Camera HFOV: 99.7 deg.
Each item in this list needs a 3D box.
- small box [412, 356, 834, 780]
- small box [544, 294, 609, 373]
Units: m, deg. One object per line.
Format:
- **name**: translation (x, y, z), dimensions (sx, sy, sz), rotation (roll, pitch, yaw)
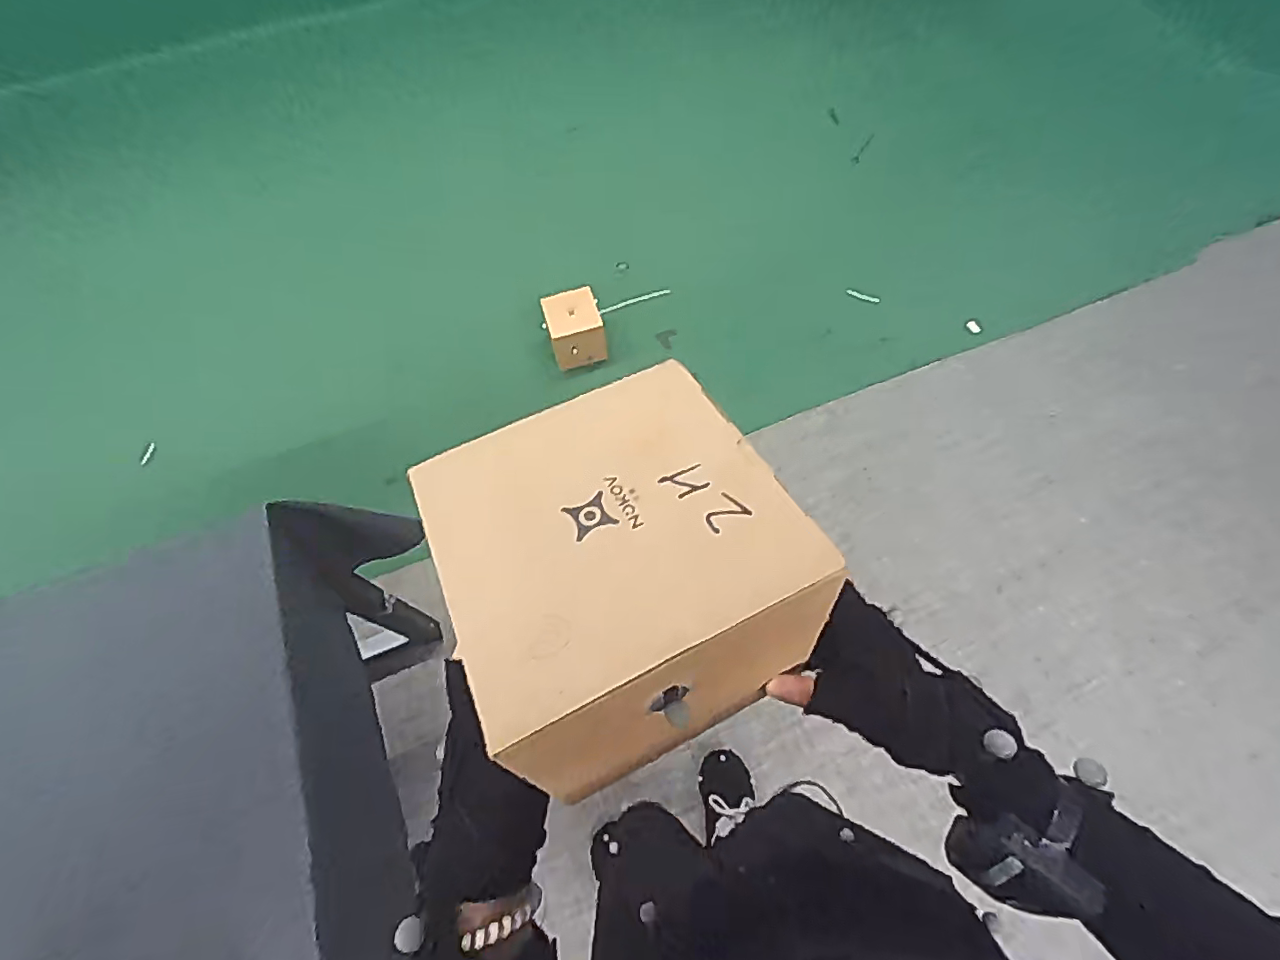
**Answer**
- **small box**: translation (-0.011, 0.060, 0.340), dimensions (0.179, 0.176, 0.168), rotation (-23, 54, -12)
- **small box**: translation (-0.204, -0.471, 1.775), dimensions (0.168, 0.176, 0.179), rotation (-16, 63, -6)
